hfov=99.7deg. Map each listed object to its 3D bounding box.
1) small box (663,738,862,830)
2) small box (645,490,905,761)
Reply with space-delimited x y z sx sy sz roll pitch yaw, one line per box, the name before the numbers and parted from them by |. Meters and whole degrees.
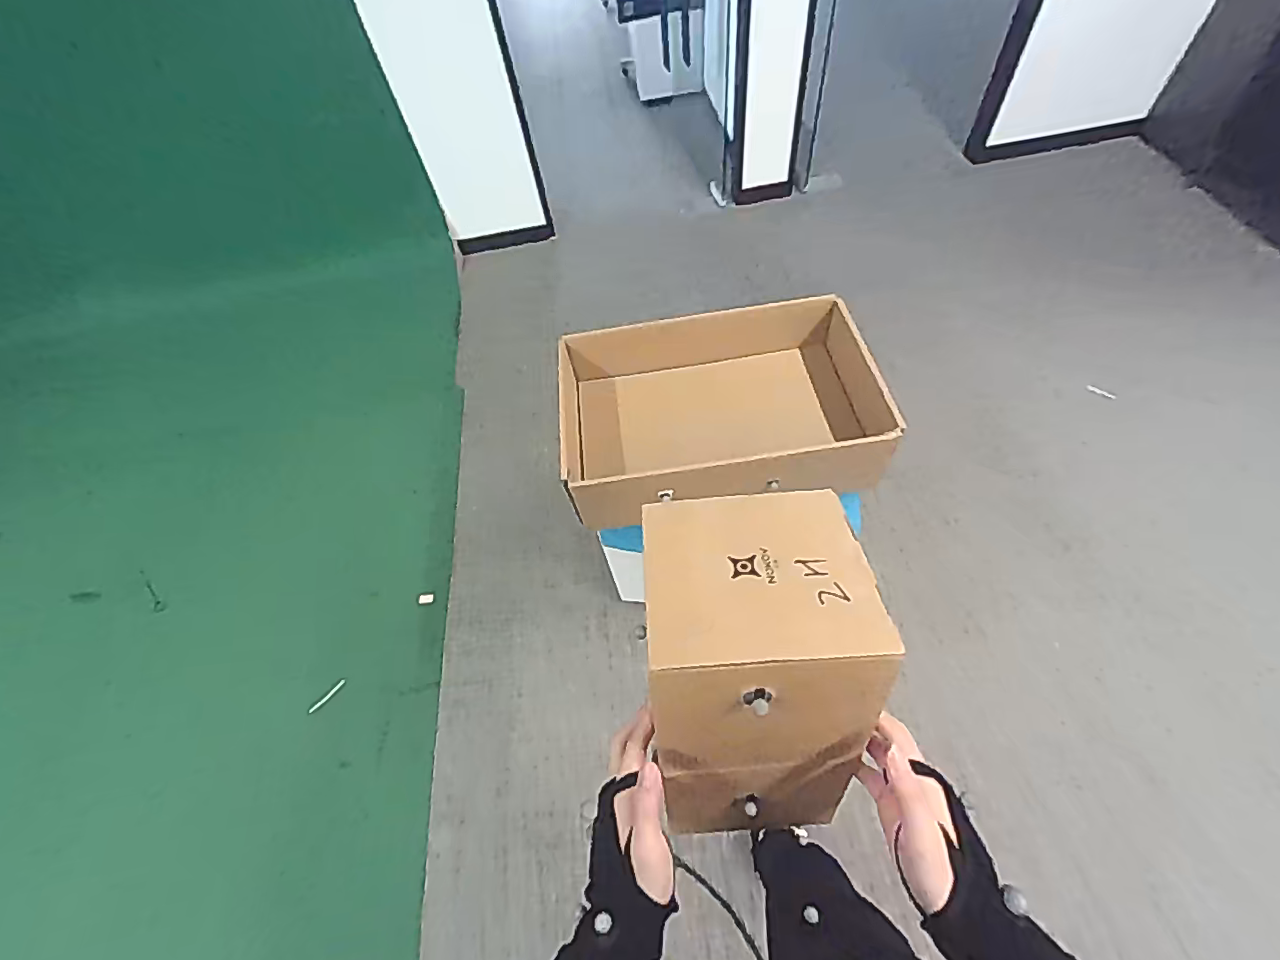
small box | 0.110 0.253 0.581 0.179 0.176 0.168 -5 40 1
small box | 0.098 0.129 0.475 0.179 0.176 0.168 -3 41 2
